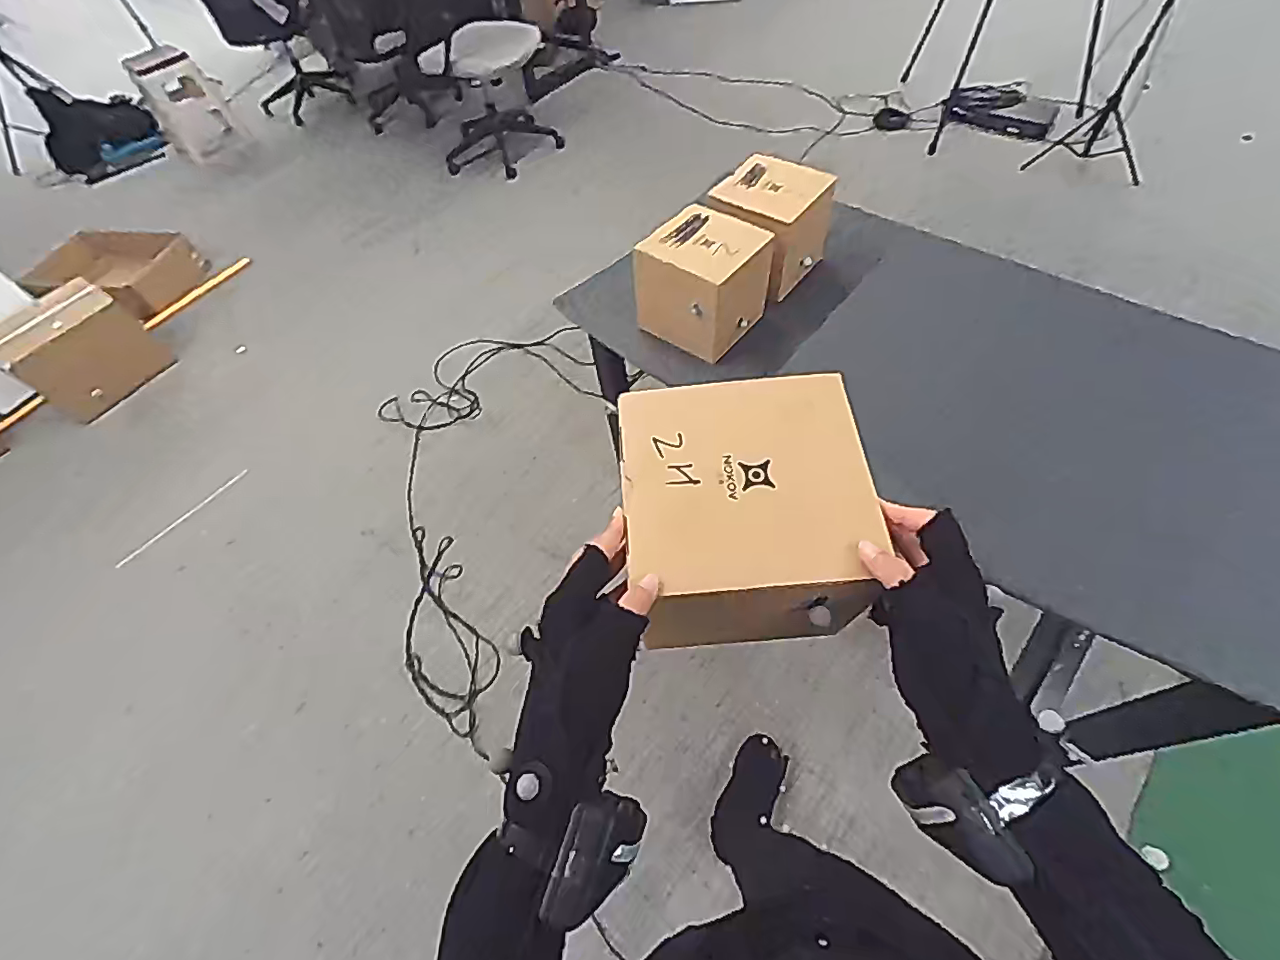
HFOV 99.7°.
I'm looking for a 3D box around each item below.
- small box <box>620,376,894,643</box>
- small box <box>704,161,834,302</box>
[{"bbox_3d":[0.079,0.035,0.454,0.179,0.176,0.168,-5,61,3],"label":"small box"},{"bbox_3d":[0.238,-0.471,1.035,0.179,0.176,0.168,32,66,24],"label":"small box"}]
